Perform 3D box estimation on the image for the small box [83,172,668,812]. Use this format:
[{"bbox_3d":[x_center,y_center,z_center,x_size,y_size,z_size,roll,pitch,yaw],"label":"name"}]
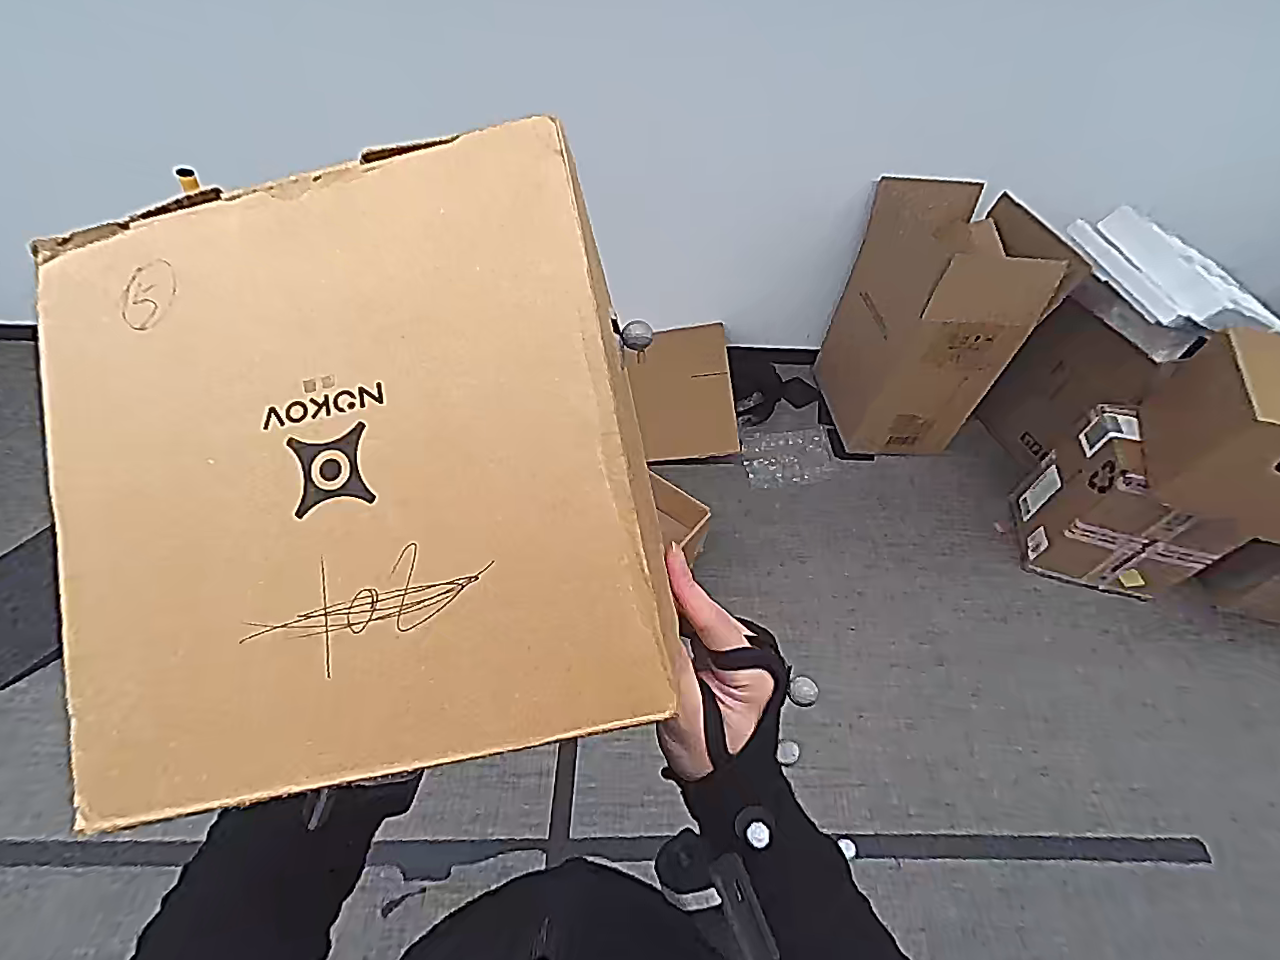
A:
[{"bbox_3d":[-0.083,0.008,0.246,0.168,0.176,0.179,-12,83,3],"label":"small box"}]
